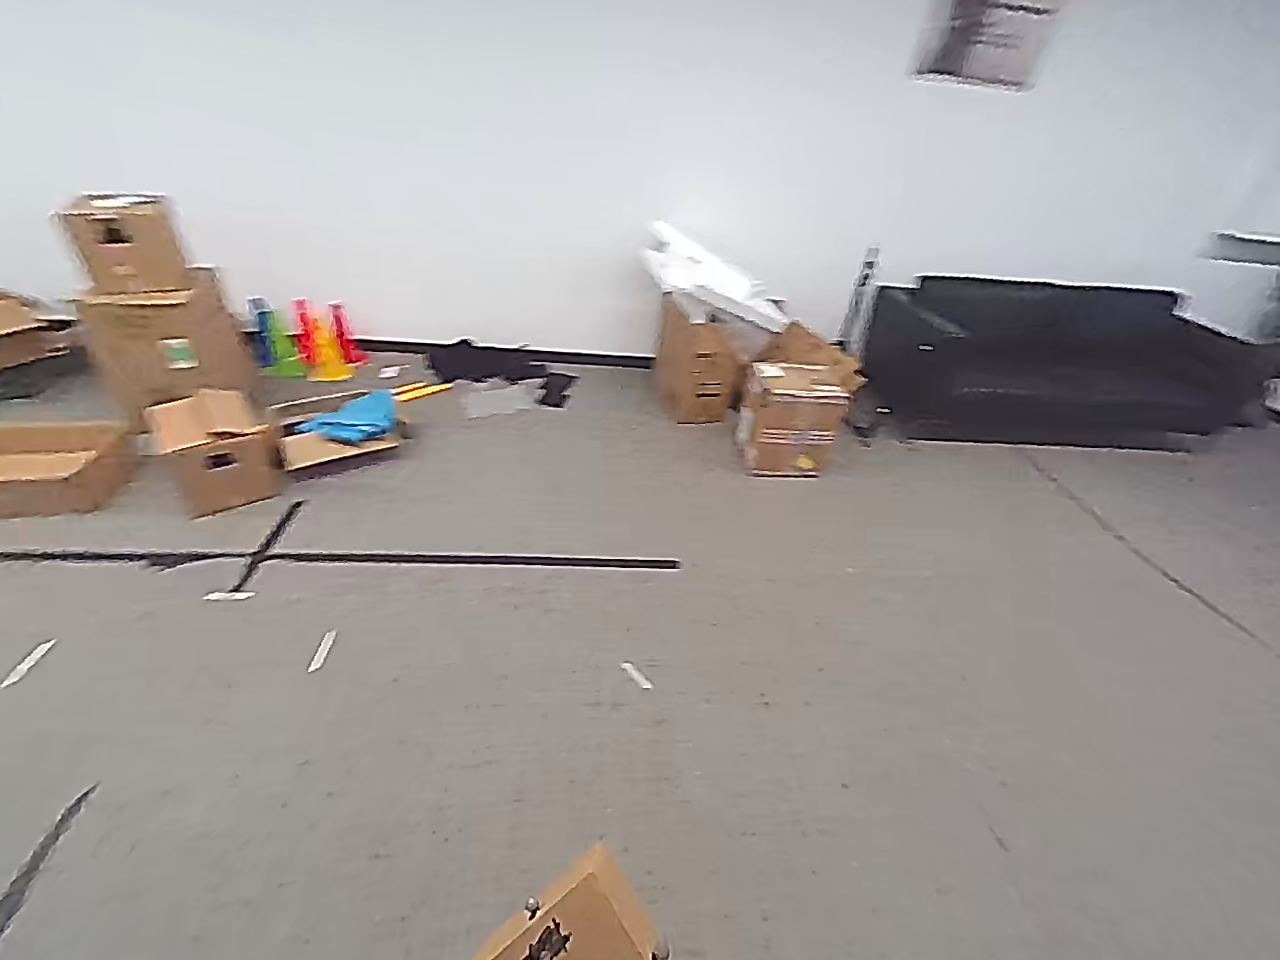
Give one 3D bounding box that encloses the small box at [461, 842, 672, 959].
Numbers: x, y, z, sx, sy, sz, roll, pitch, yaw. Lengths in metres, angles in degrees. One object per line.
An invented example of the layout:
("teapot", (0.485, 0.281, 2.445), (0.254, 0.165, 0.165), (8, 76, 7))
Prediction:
("small box", (-0.064, 0.491, 0.517), (0.168, 0.176, 0.179), (-34, 70, -16))
